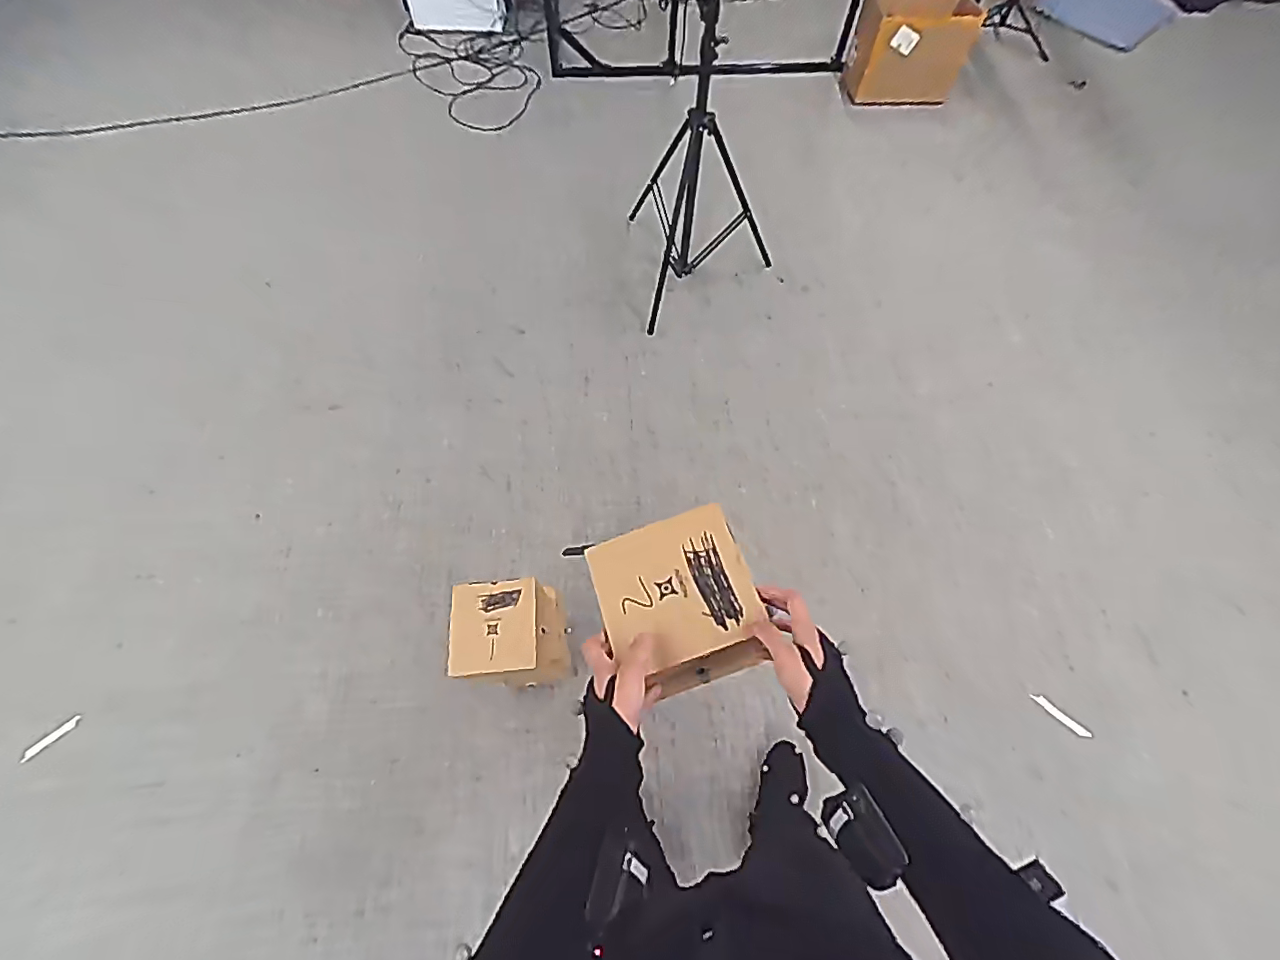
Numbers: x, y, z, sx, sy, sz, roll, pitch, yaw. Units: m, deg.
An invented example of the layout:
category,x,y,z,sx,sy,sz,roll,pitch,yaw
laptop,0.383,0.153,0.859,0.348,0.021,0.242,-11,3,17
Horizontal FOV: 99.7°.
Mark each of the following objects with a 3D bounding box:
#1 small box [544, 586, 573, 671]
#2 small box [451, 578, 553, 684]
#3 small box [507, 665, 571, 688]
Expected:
category,x,y,z,sx,sy,sz,roll,pitch,yaw
small box,-0.261,0.360,1.264,0.179,0.176,0.168,-8,65,-4
small box,-0.274,0.312,1.105,0.168,0.176,0.179,-5,65,-1
small box,-0.275,0.435,1.410,0.168,0.176,0.179,-7,65,-3
